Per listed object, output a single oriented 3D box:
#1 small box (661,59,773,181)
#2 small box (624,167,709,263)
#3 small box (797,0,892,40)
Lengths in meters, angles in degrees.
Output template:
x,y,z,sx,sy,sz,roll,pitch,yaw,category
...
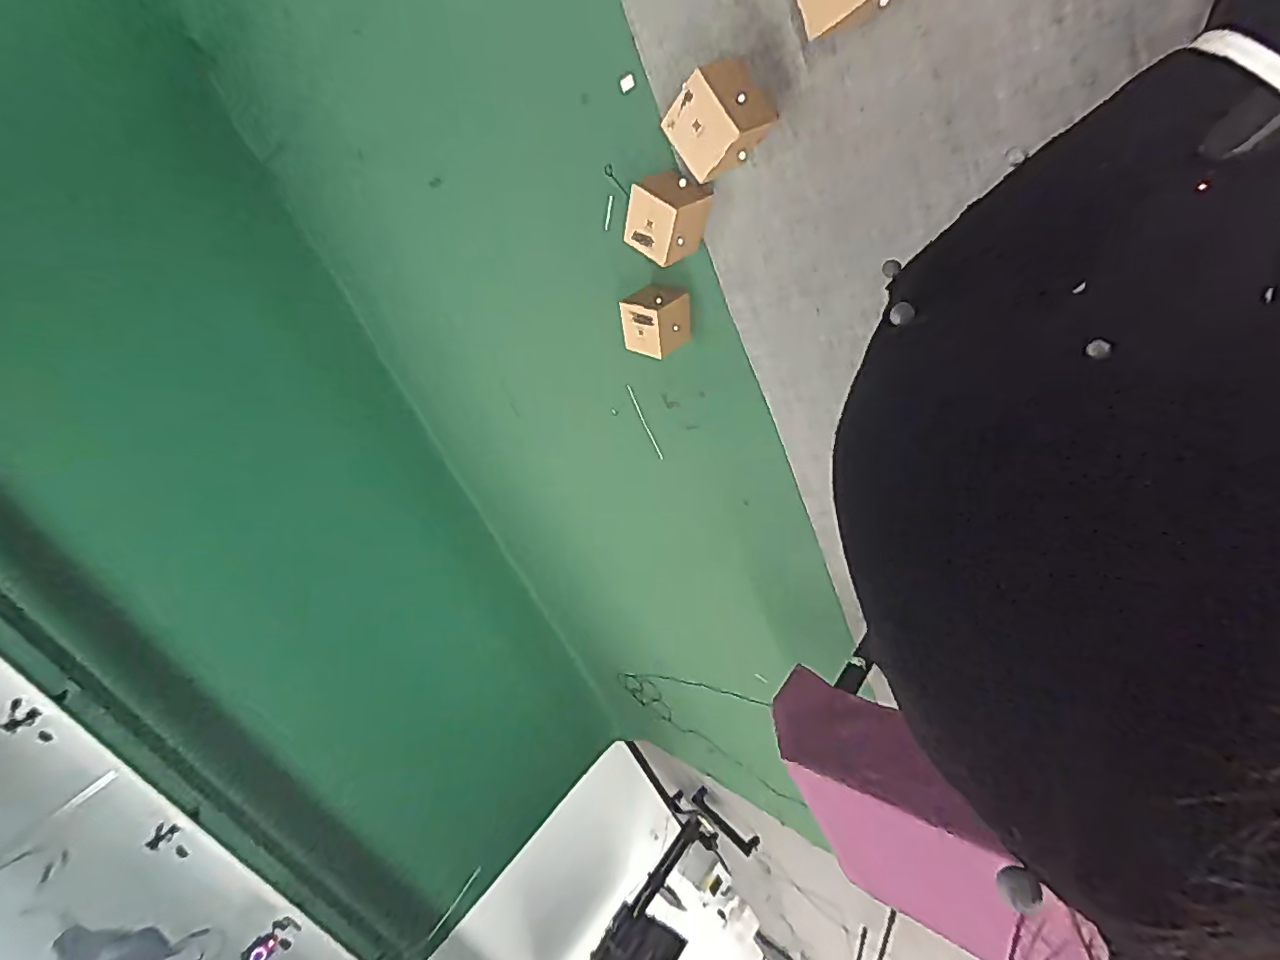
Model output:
x,y,z,sx,sy,sz,roll,pitch,yaw,category
0.191,-0.882,1.320,0.179,0.176,0.168,53,148,-7,small box
0.077,-0.773,1.575,0.168,0.176,0.179,40,146,16,small box
0.396,-0.956,0.986,0.179,0.176,0.168,-1,122,51,small box
